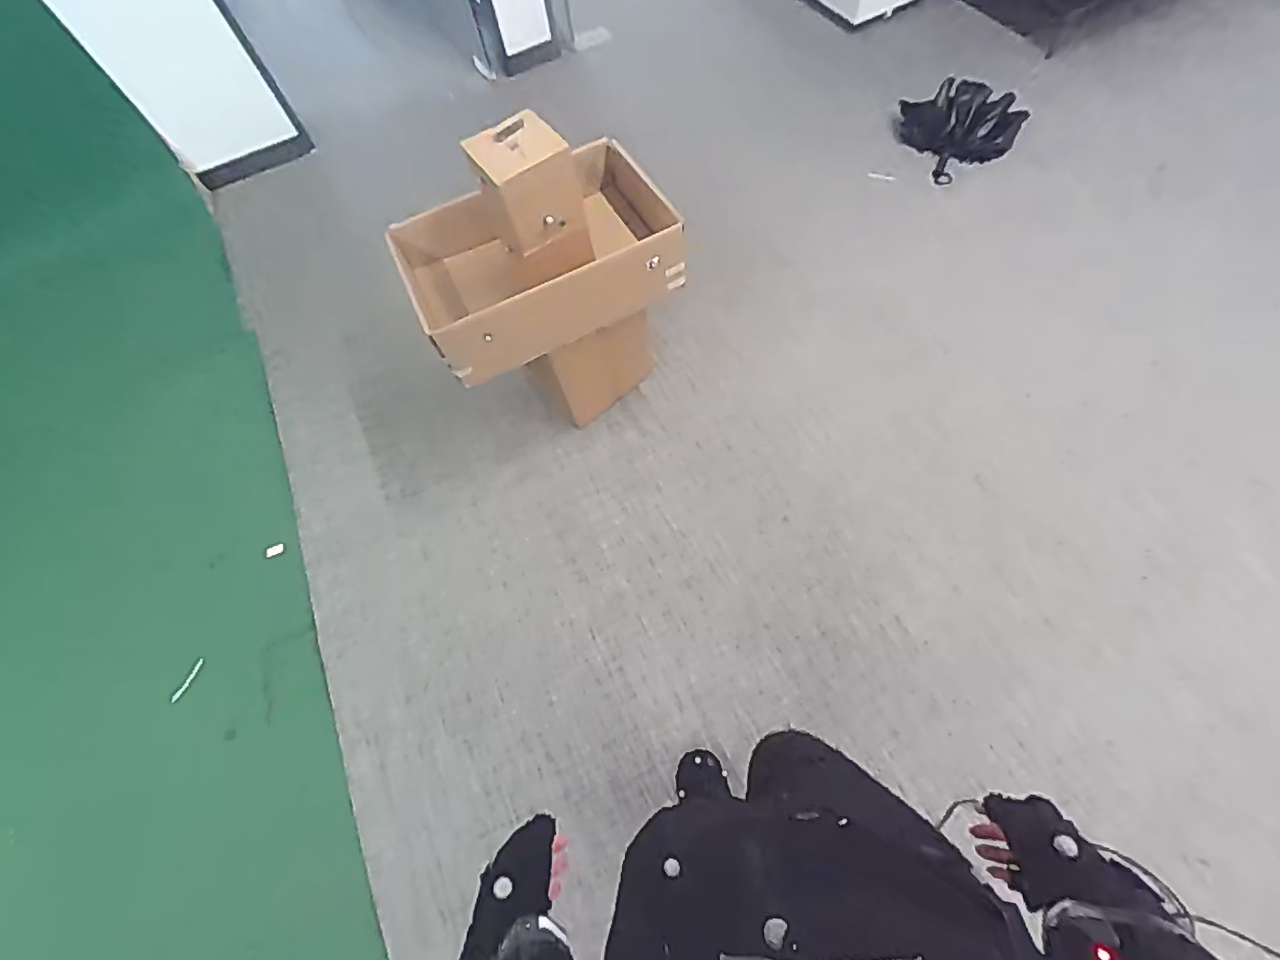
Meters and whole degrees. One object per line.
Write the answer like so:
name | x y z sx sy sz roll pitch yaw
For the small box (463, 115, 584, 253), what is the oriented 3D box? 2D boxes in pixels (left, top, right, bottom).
small box | -0.241 -0.623 1.150 0.168 0.176 0.179 -34 65 -8

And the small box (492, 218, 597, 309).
small box | -0.223 -0.549 1.296 0.168 0.176 0.179 -33 65 -9
